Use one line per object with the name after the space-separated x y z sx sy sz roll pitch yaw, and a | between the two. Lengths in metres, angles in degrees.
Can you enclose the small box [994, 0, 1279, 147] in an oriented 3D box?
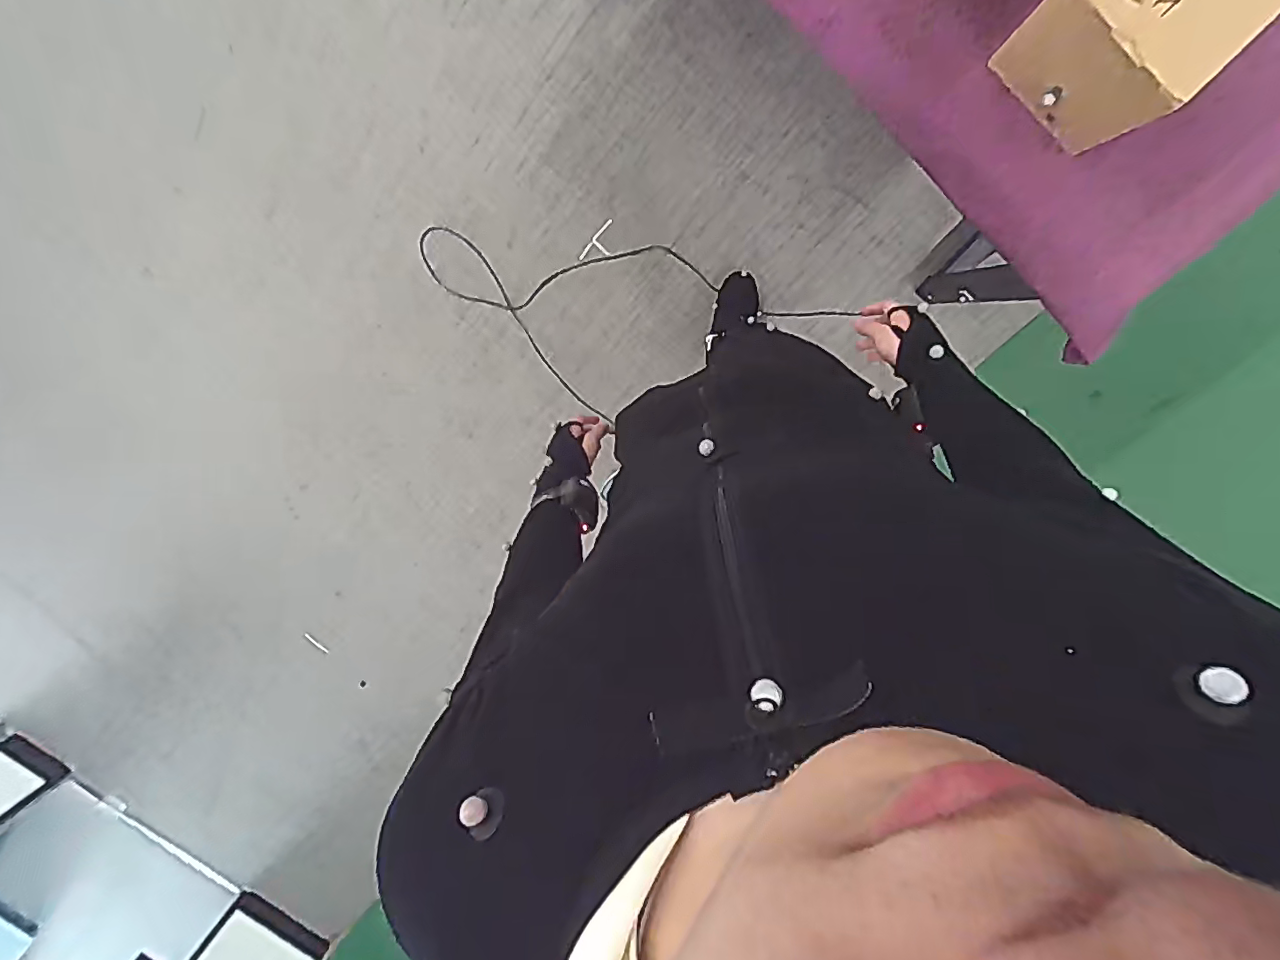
0.543 -0.513 0.589 0.168 0.176 0.179 42 107 -6 | small box
